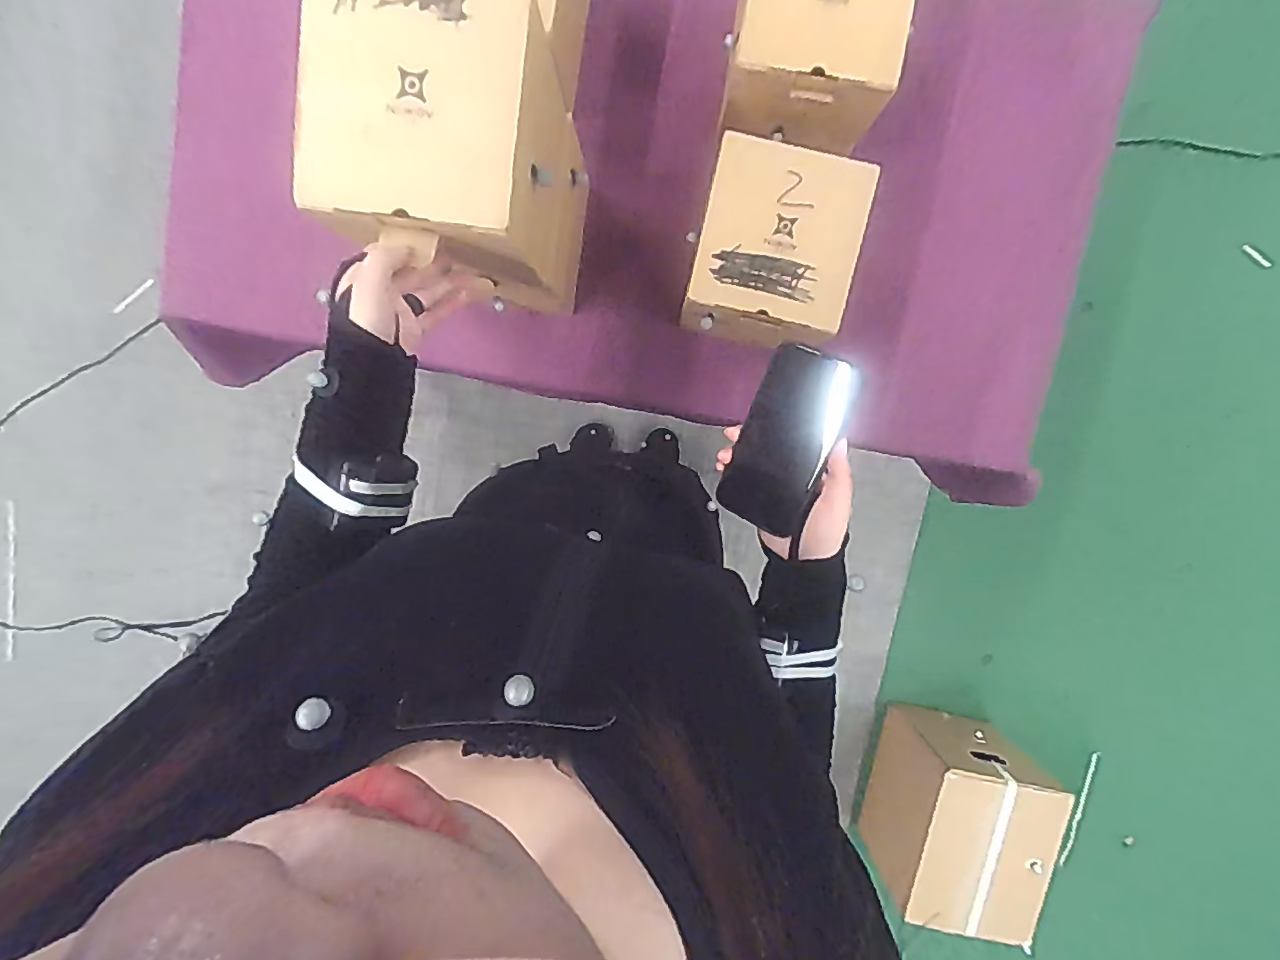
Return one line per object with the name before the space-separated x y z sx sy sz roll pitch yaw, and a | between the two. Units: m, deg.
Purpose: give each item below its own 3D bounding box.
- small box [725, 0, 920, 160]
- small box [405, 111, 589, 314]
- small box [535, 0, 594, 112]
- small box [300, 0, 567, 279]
small box | 0.197 -0.500 0.610 0.168 0.176 0.179 8 98 0
small box | -0.157 -0.311 0.640 0.168 0.176 0.179 8 97 0
small box | -0.149 -0.553 0.611 0.168 0.176 0.179 11 97 -1
small box | -0.164 -0.289 0.477 0.168 0.176 0.179 8 97 0
